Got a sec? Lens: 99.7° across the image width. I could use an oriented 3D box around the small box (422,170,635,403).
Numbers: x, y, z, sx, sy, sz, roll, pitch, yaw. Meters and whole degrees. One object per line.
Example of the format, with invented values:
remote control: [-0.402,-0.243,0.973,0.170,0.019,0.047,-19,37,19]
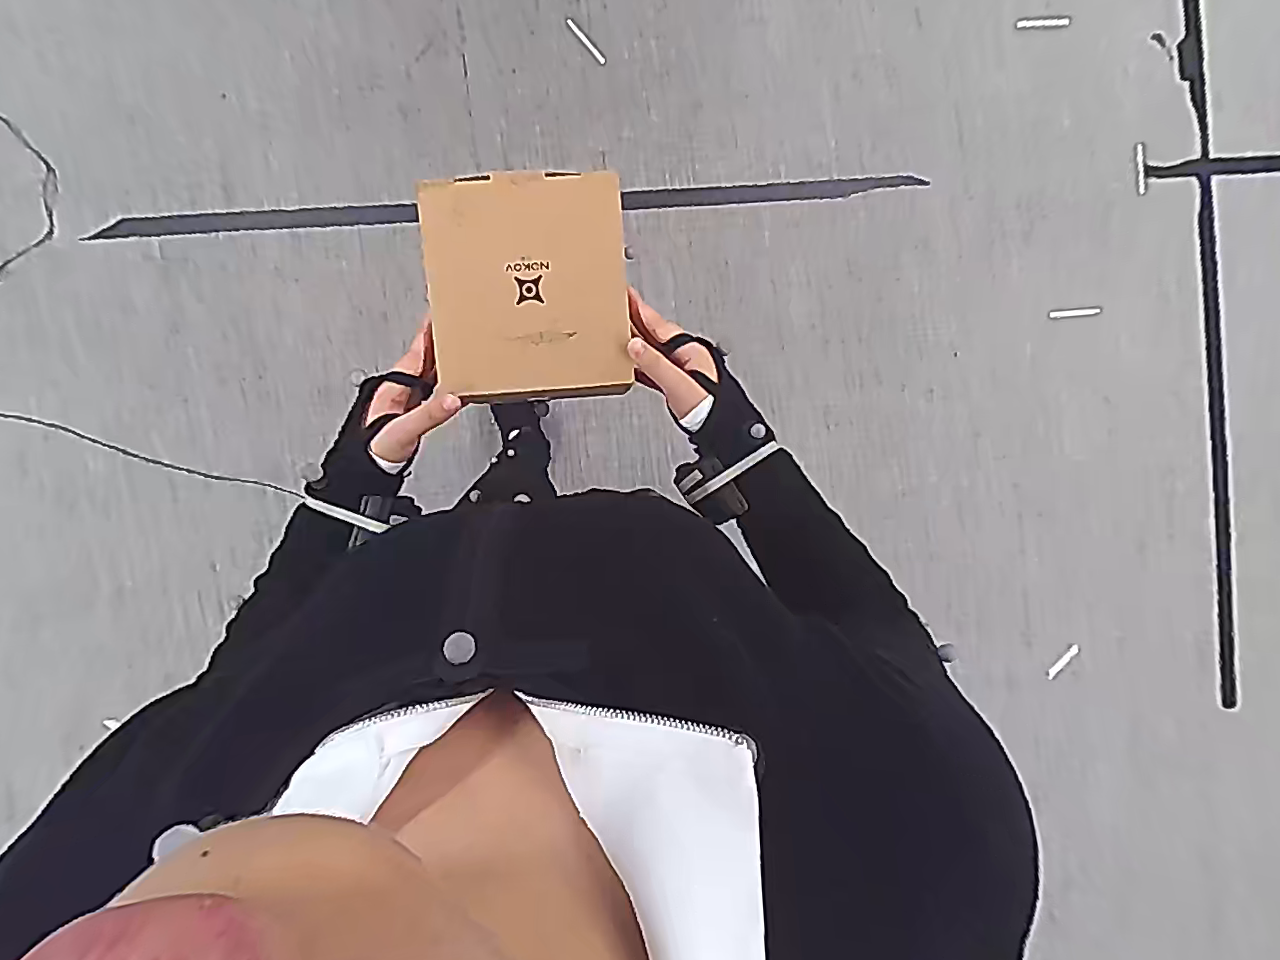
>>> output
small box: [-0.096,-0.172,0.527,0.168,0.176,0.179,-5,96,-3]
